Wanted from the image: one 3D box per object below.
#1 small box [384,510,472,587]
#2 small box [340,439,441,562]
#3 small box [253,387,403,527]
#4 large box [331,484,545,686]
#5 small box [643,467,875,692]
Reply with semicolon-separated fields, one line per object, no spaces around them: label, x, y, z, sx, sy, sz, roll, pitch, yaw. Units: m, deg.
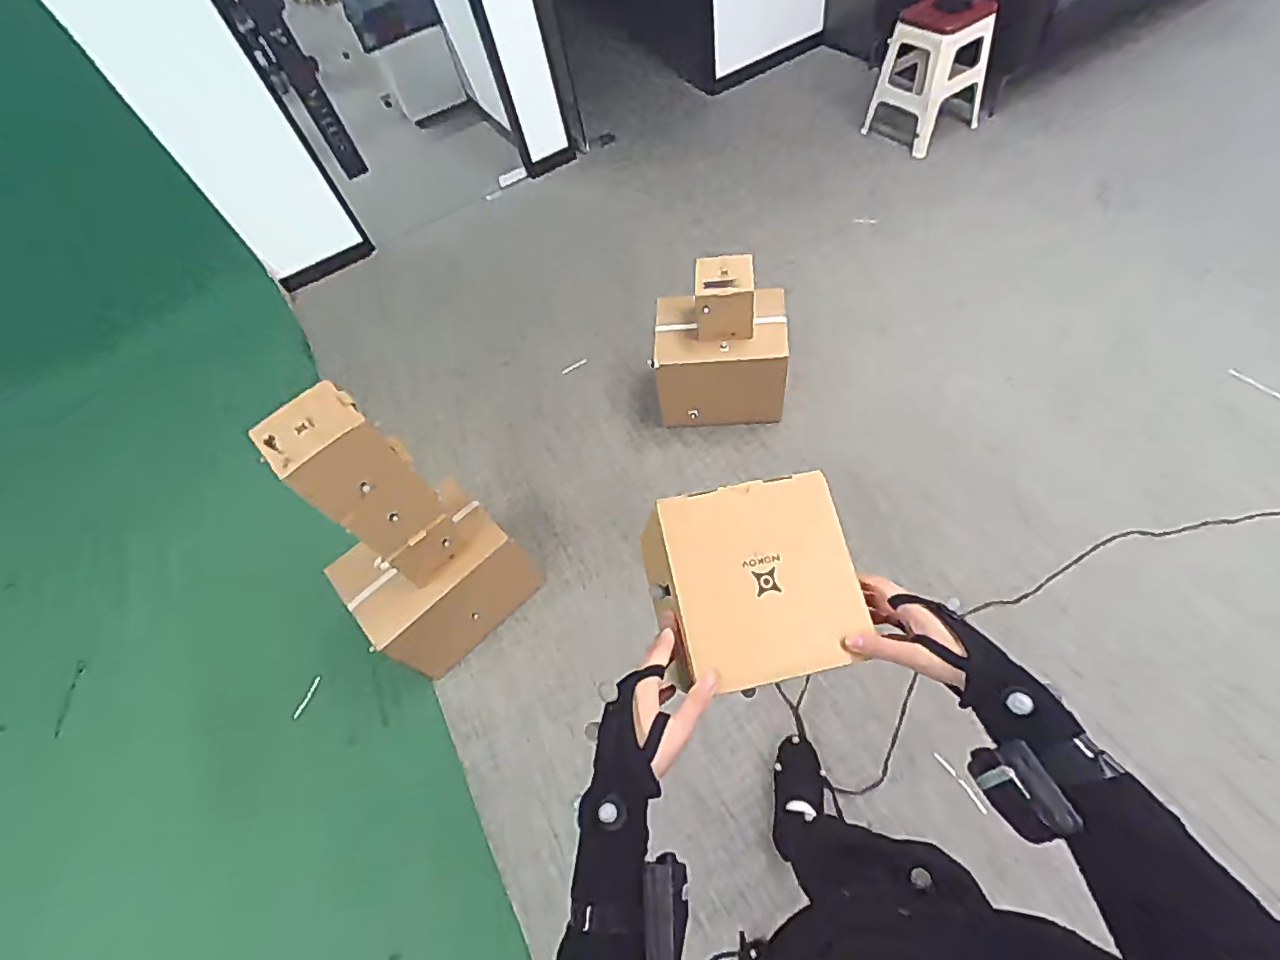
small box;-0.546;0.142;1.332;0.168;0.176;0.179;-41;59;-17
small box;-0.571;0.048;1.201;0.179;0.176;0.168;-43;60;-18
small box;-0.600;-0.043;1.066;0.179;0.176;0.168;-41;59;-18
large box;-0.547;0.297;1.526;0.408;0.320;0.320;-43;58;-16
small box;0.102;0.106;0.553;0.168;0.176;0.179;-10;71;-8
